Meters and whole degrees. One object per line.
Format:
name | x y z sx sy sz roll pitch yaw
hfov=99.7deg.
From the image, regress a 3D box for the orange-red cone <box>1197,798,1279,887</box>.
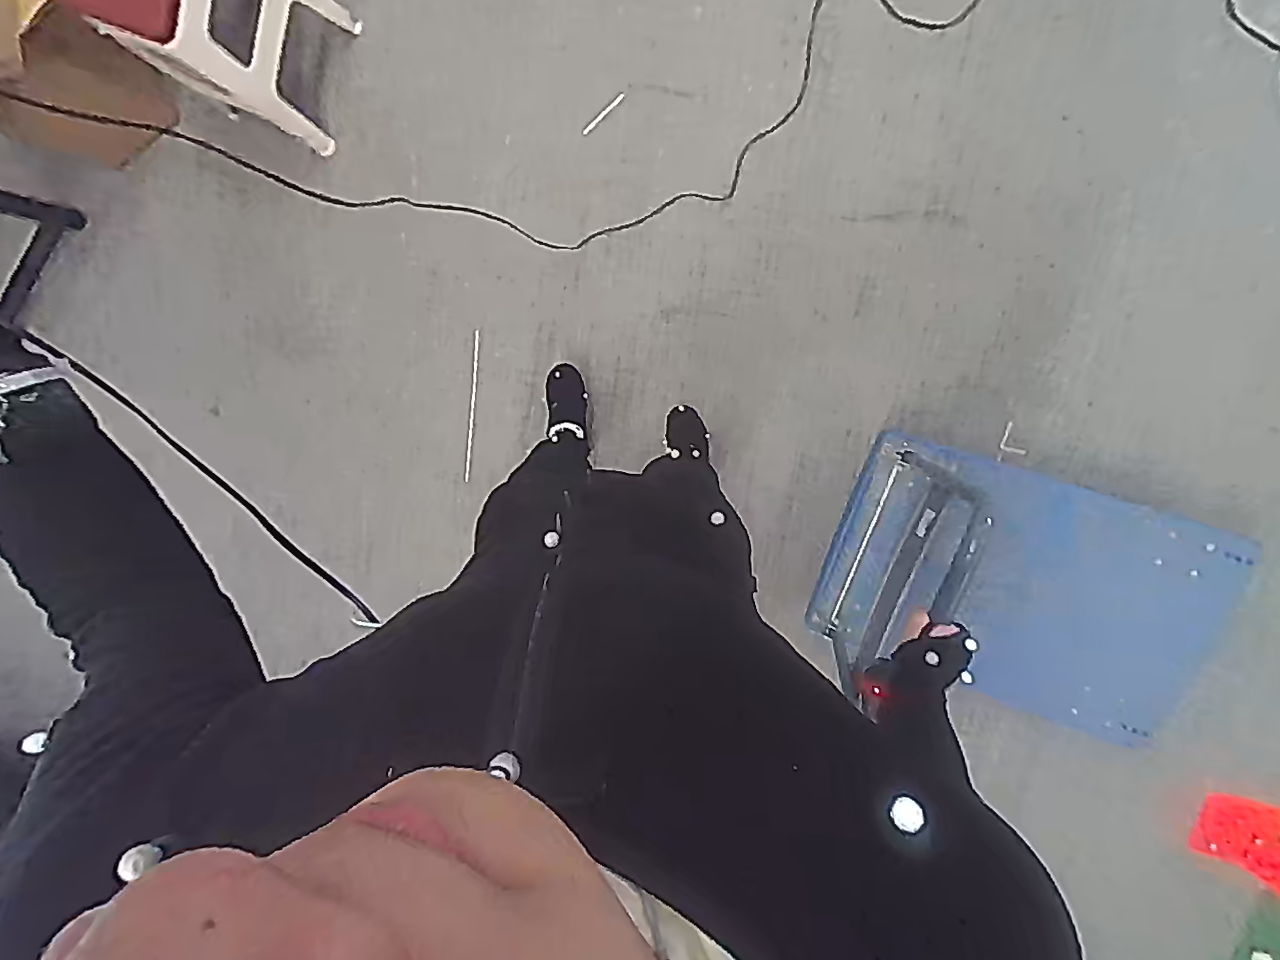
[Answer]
orange-red cone | 1.644 1.005 1.319 0.199 0.360 0.198 10 103 7
